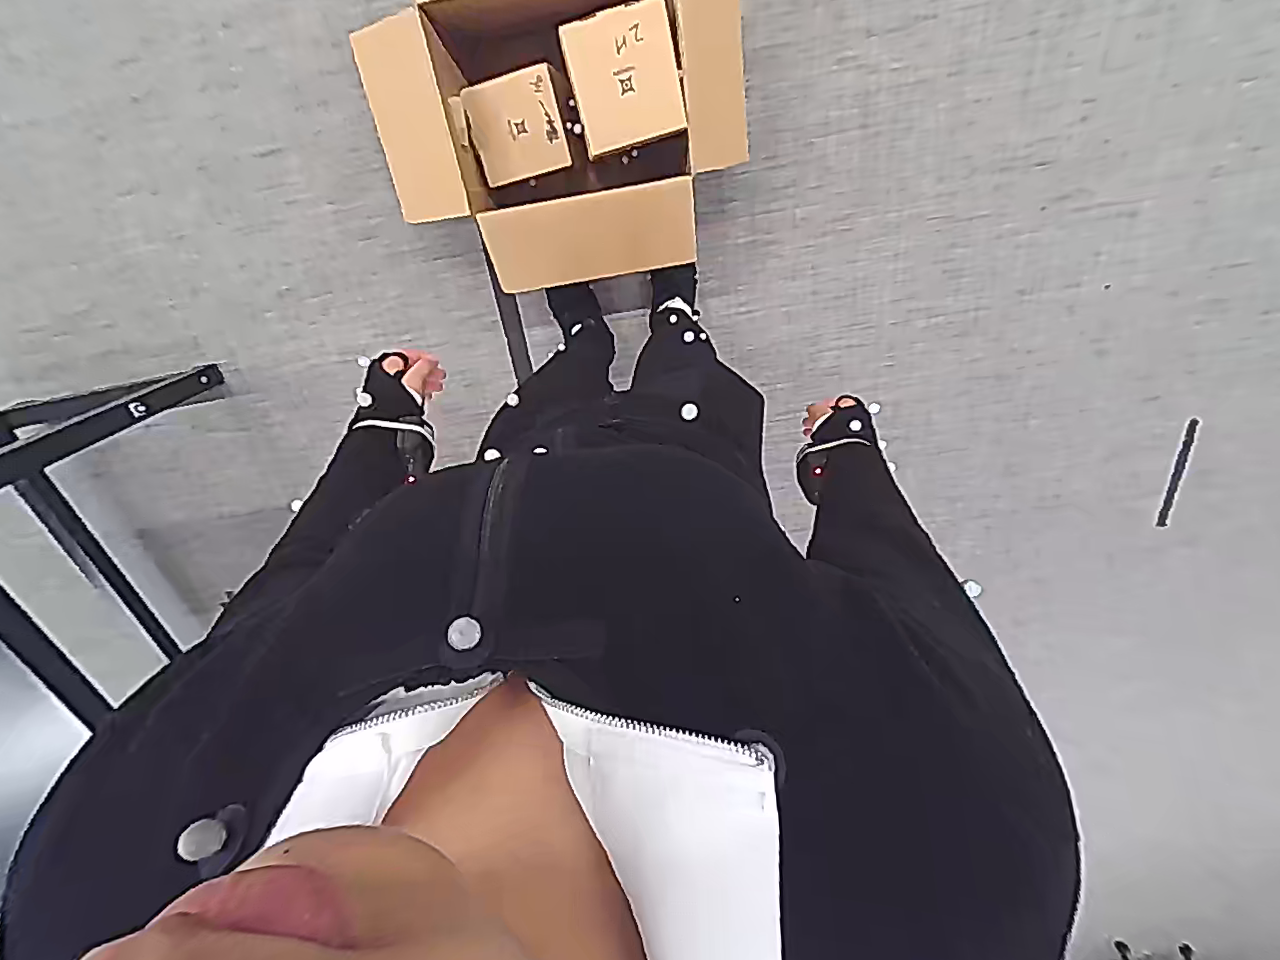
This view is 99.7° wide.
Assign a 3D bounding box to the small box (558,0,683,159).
[{"bbox_3d":[-0.032,-0.664,0.920,0.168,0.176,0.179,-15,118,2],"label":"small box"}]
